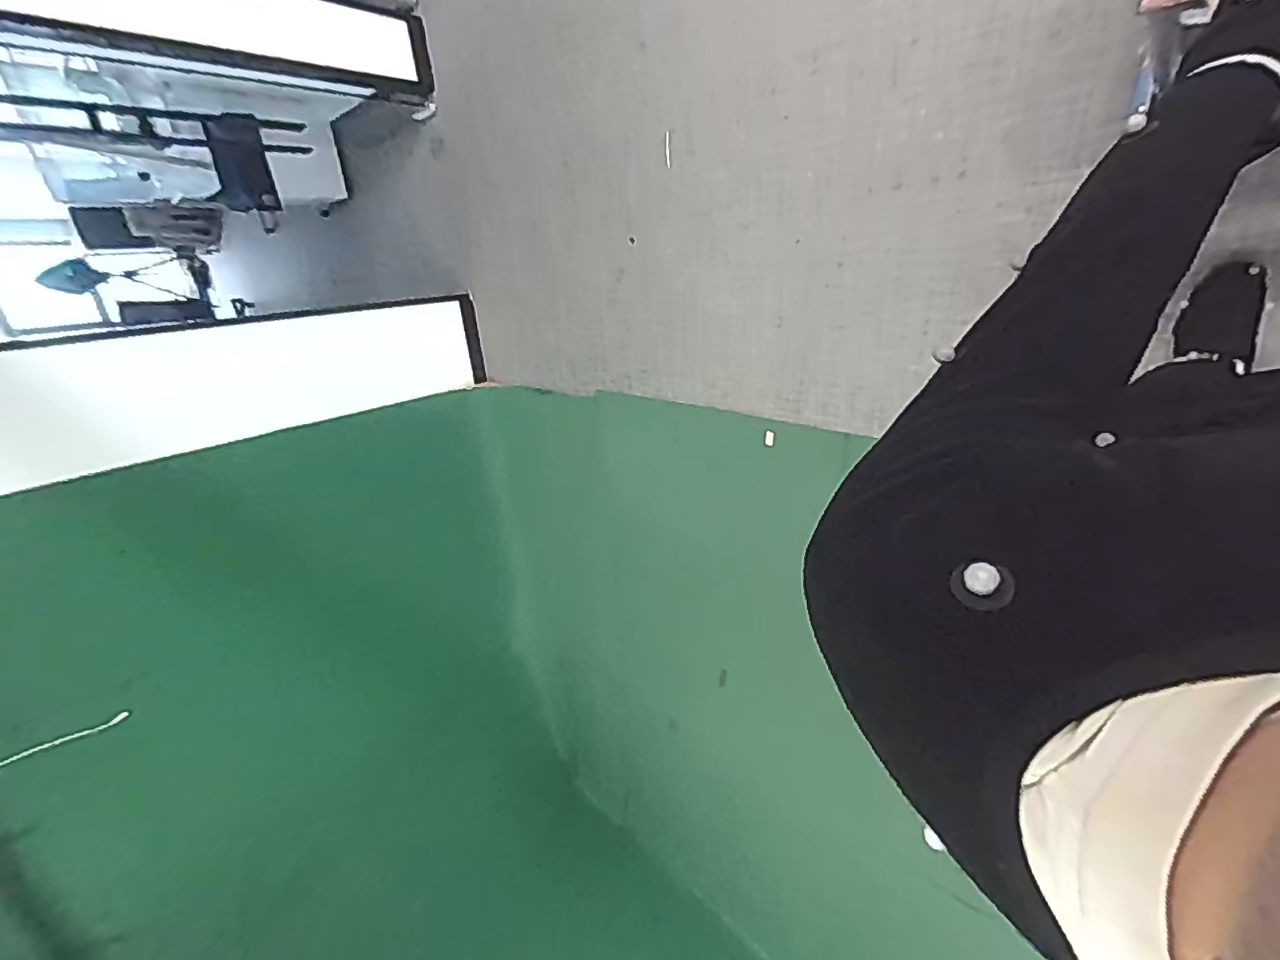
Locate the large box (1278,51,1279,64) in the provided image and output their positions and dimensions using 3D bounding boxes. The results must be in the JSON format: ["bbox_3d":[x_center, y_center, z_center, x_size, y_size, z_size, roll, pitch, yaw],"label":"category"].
[{"bbox_3d":[0.999,-0.751,0.580,0.320,0.320,0.408,19,119,39],"label":"large box"}]
